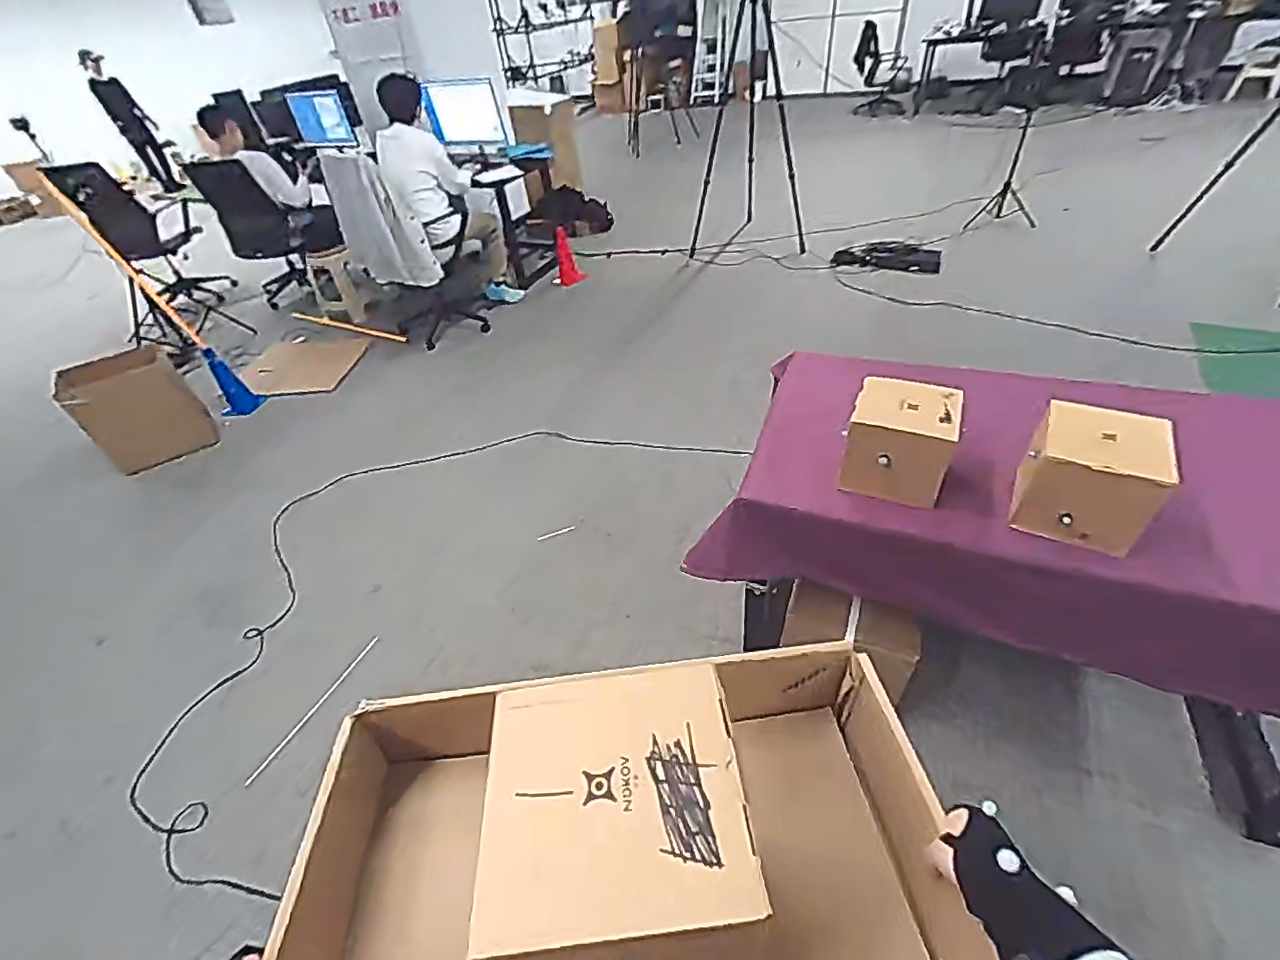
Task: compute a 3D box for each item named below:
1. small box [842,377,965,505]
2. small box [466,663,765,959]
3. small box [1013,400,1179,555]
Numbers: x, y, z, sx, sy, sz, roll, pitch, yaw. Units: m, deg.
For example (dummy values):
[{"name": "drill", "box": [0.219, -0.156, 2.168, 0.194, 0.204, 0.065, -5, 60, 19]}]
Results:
[{"name": "small box", "box": [0.498, -0.074, 1.034, 0.179, 0.176, 0.168, 14, 47, 24]}, {"name": "small box", "box": [-0.014, 0.269, 0.420, 0.179, 0.176, 0.168, -8, 39, -1]}, {"name": "small box", "box": [0.765, -0.006, 0.921, 0.168, 0.176, 0.179, 19, 49, 27]}]
